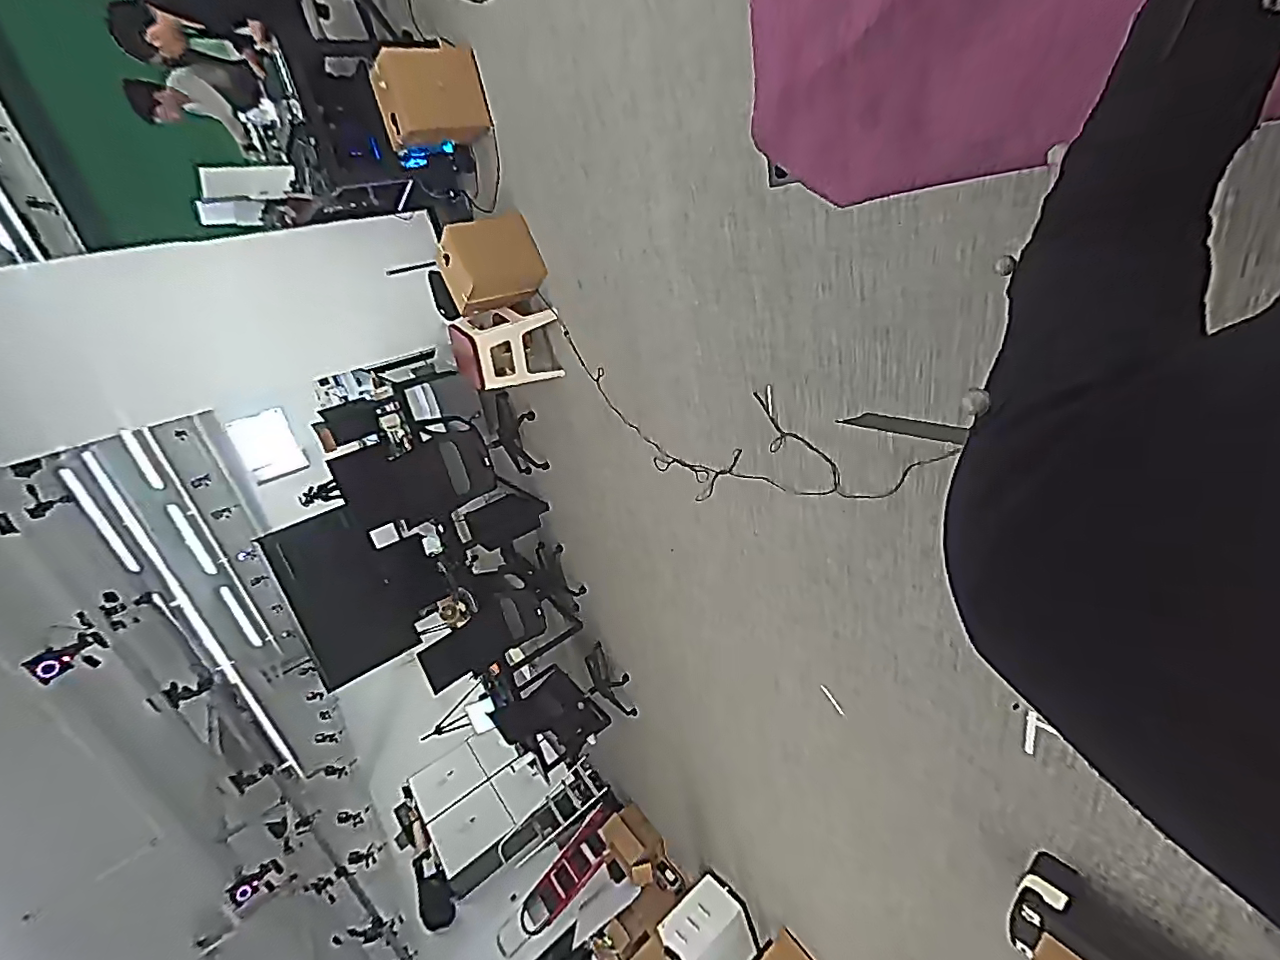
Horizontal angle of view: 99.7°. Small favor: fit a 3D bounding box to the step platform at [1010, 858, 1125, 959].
[{"bbox_3d":[1.453,1.456,1.521,0.684,0.204,0.286,20,130,49],"label":"step platform"}]
